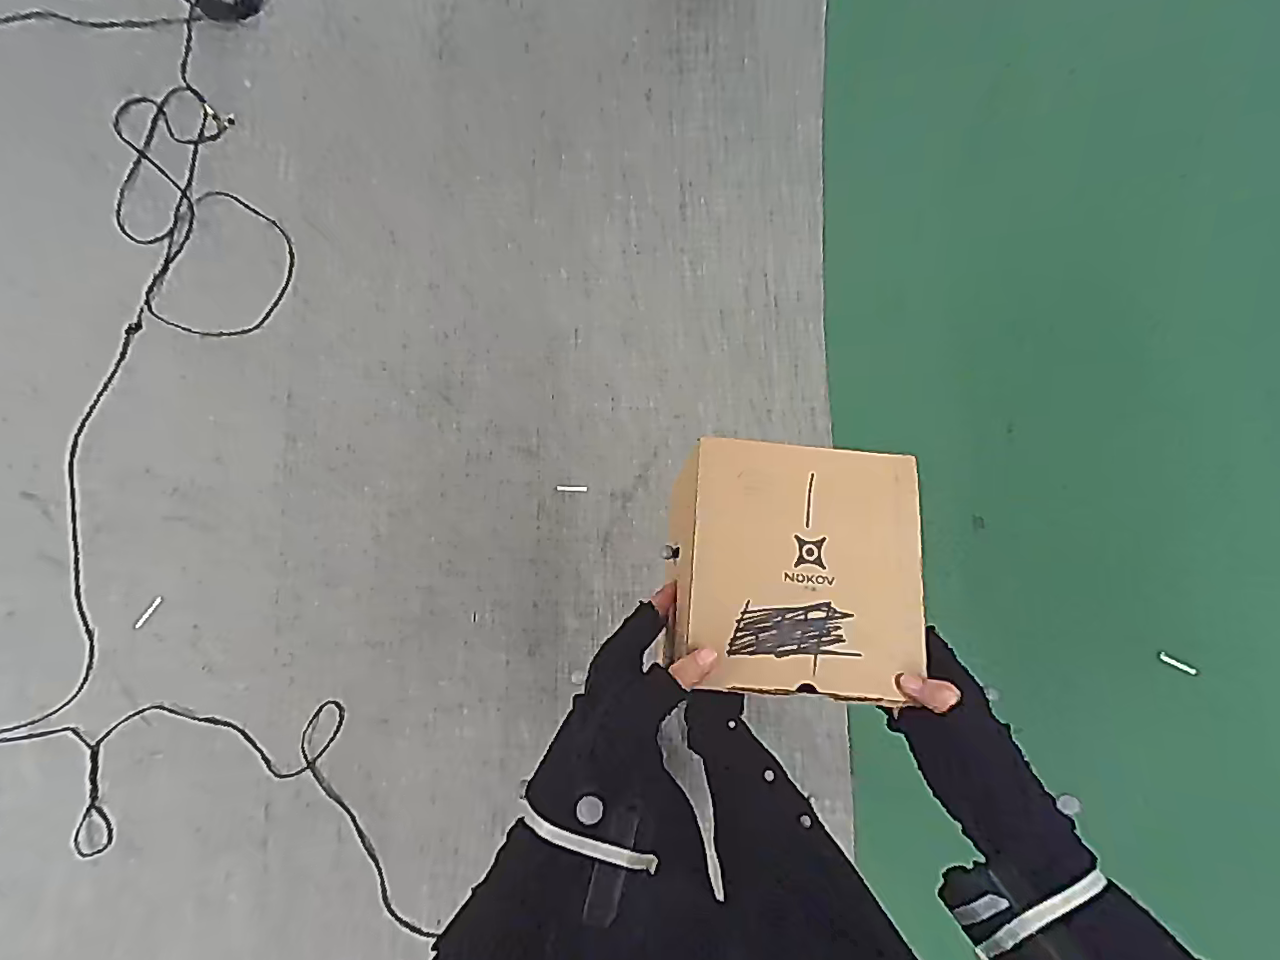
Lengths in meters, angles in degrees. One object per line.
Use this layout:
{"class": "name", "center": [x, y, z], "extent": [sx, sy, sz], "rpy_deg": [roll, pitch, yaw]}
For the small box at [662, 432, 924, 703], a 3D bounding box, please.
{"class": "small box", "center": [0.112, 0.077, 0.456], "extent": [0.168, 0.176, 0.179], "rpy_deg": [6, 74, -3]}
